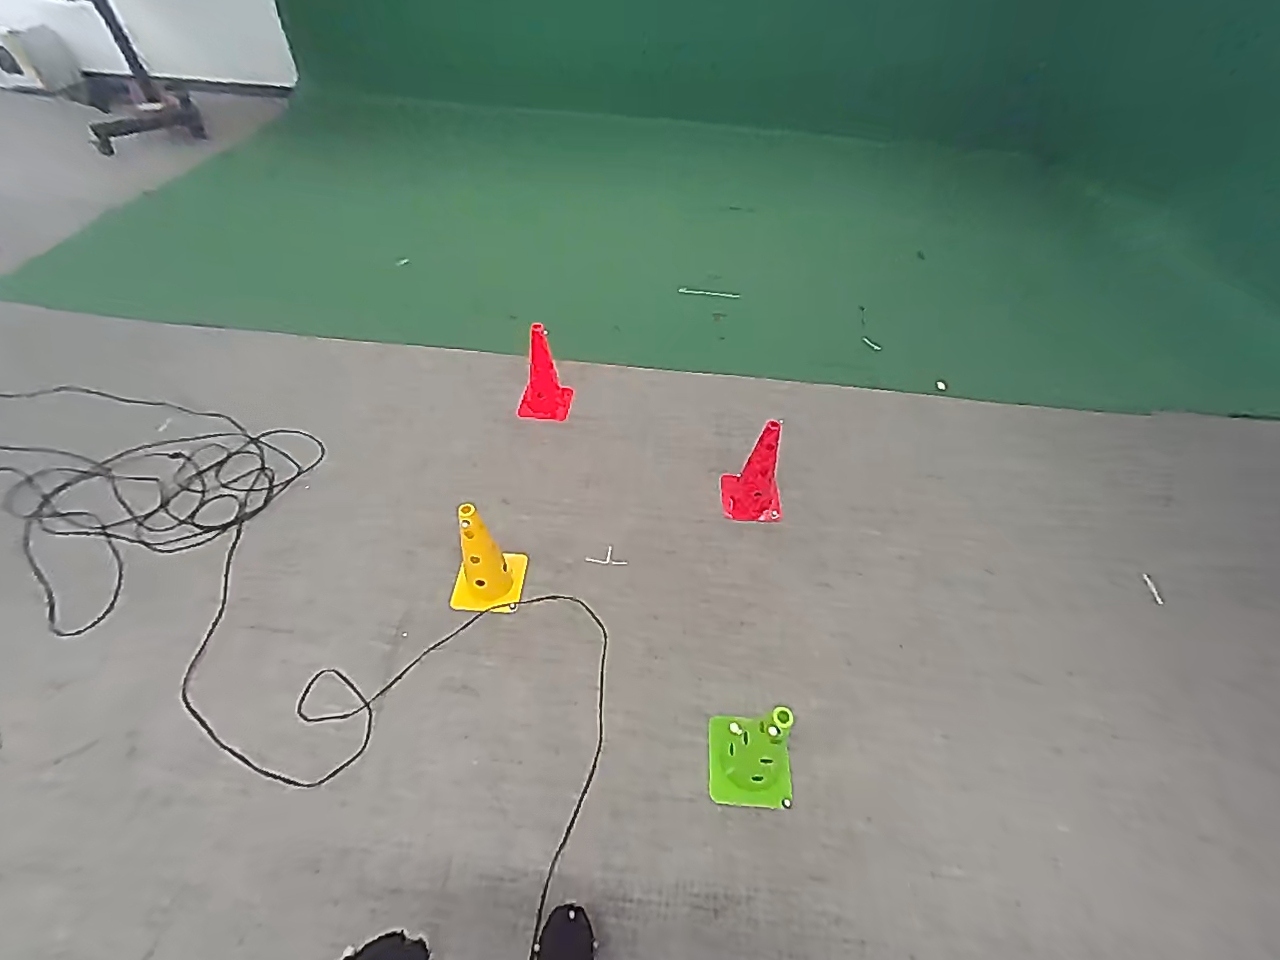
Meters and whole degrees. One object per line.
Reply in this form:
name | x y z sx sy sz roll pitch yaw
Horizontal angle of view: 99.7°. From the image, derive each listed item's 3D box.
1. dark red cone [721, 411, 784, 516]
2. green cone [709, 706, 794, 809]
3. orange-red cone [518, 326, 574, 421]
dark red cone | 0.393 -0.063 1.747 0.202 0.394 0.201 2 48 -2
green cone | 0.278 0.585 1.215 0.202 0.368 0.200 4 49 2
orange-red cone | -0.372 -0.418 2.043 0.198 0.360 0.199 5 50 3
